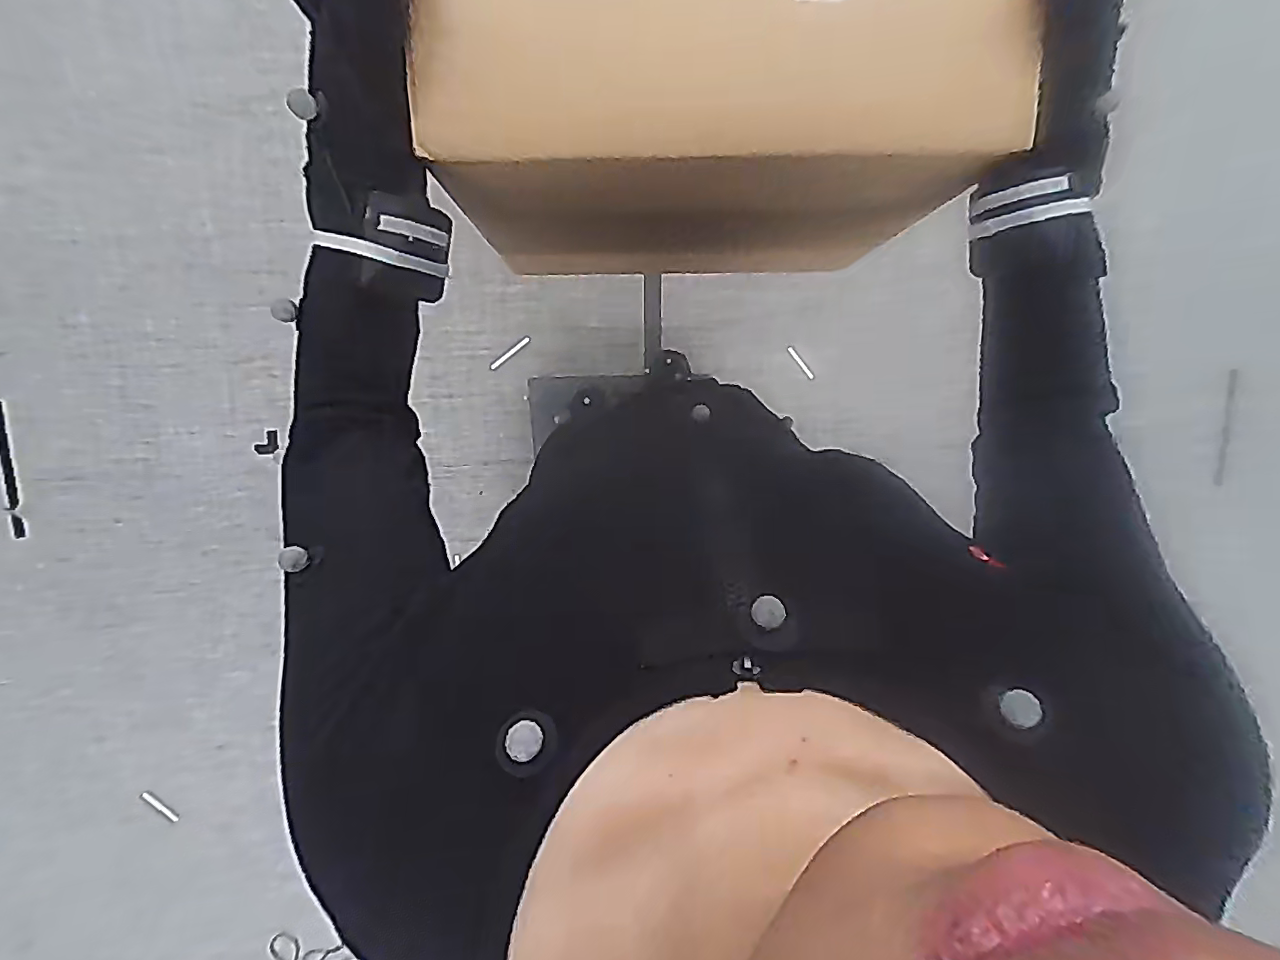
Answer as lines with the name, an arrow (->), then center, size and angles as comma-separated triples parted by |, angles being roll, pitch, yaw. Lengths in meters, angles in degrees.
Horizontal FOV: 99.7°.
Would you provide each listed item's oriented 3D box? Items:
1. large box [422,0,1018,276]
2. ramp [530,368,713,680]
large box -> 0.046, -0.391, 0.498 | 0.408, 0.320, 0.320 | -2, 98, -2
ramp -> -0.035, 0.174, 1.602 | 0.509, 0.206, 0.991 | -4, 101, -3
